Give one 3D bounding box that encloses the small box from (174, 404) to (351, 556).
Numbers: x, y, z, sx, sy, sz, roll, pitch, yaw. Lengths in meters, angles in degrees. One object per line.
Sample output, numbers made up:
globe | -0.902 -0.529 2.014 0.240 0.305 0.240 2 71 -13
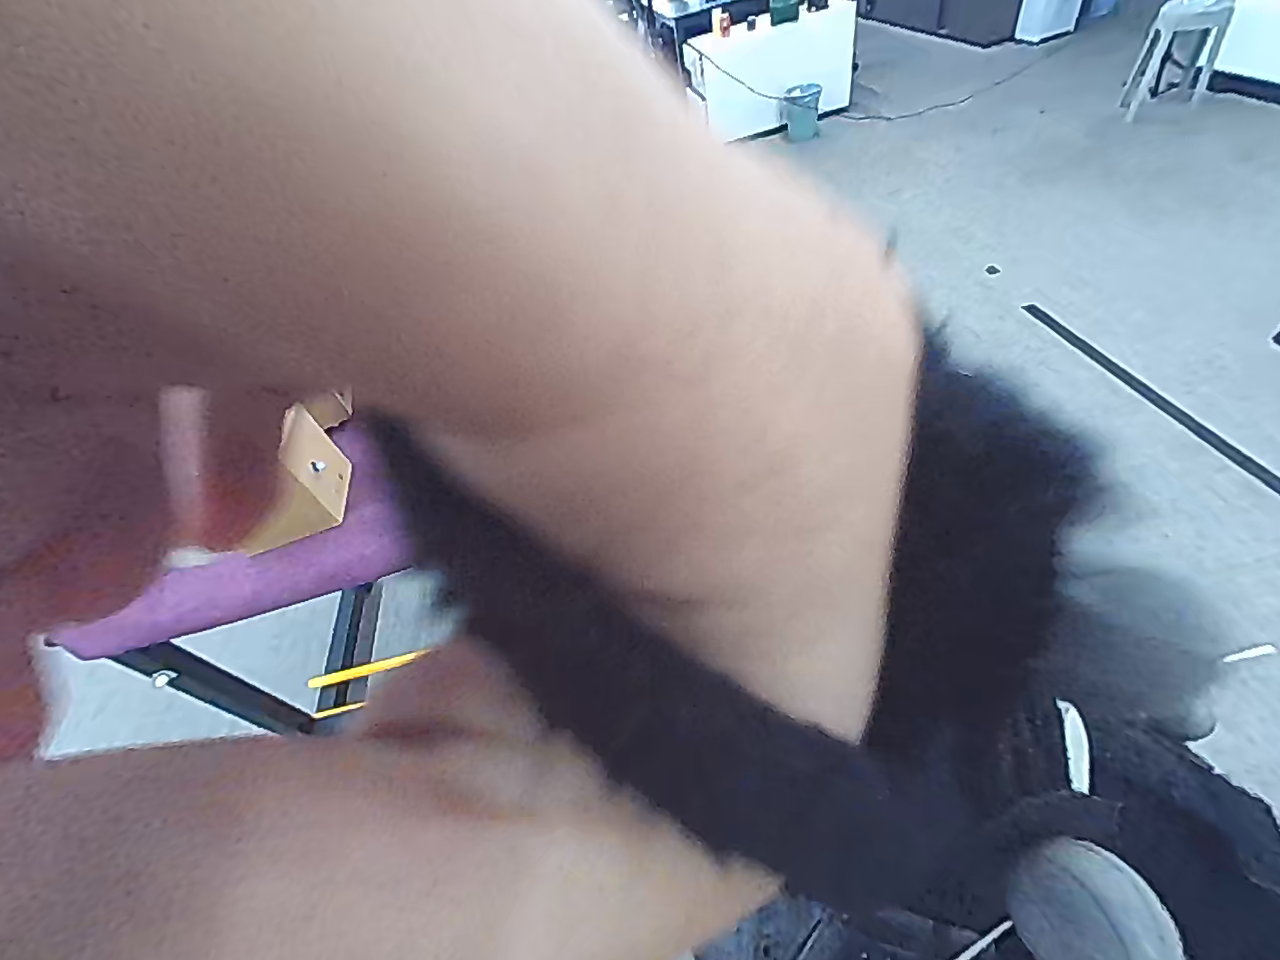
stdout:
small box | -0.638 0.002 0.943 0.179 0.176 0.168 -20 46 -2
